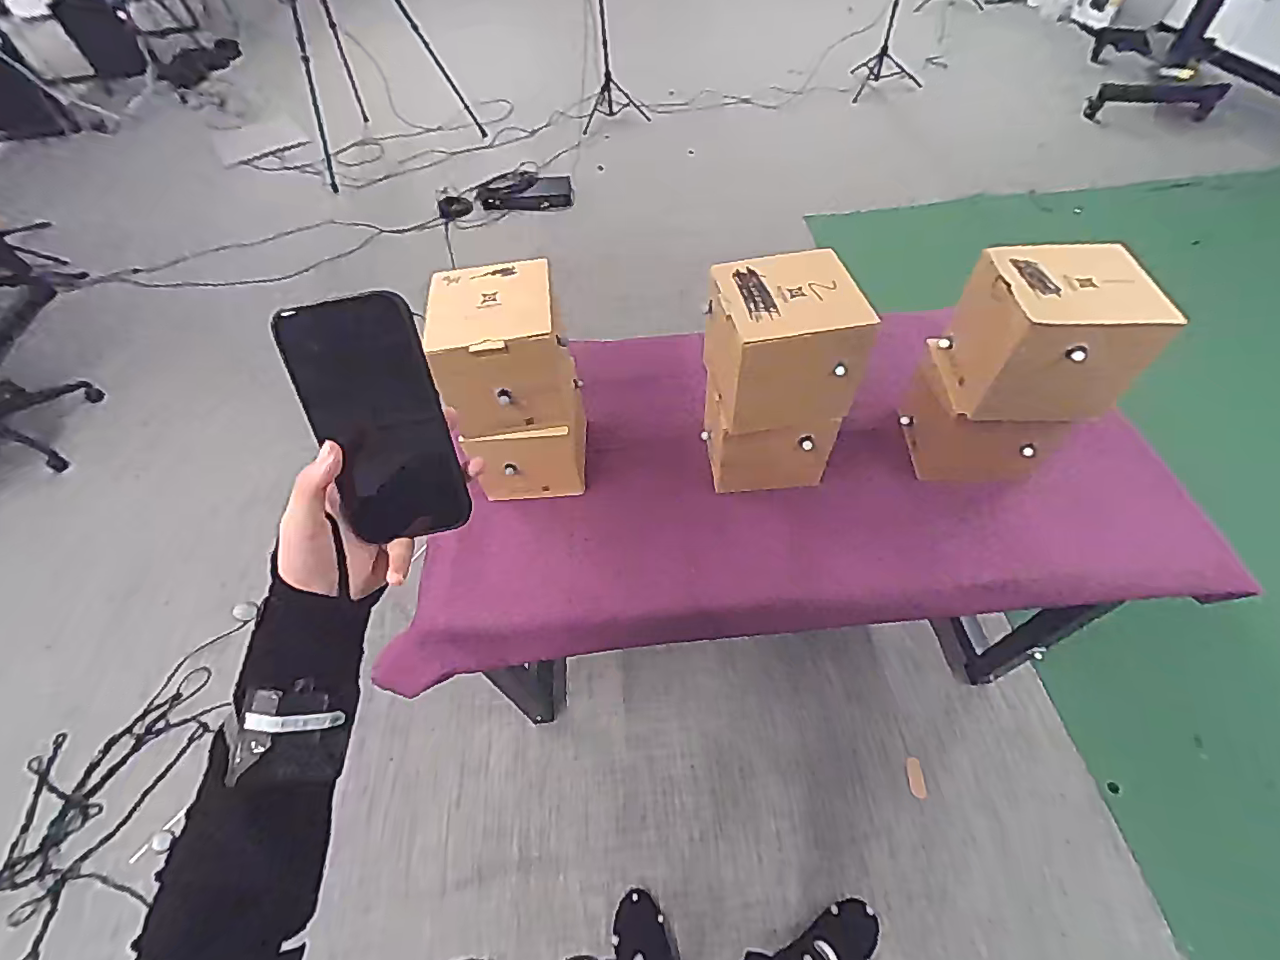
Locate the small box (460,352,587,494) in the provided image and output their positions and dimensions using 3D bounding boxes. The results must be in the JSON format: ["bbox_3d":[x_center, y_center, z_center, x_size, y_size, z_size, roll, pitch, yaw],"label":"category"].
[{"bbox_3d":[-0.183,-0.088,0.908,0.168,0.176,0.179,-5,54,2],"label":"small box"}]

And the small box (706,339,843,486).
[{"bbox_3d":[0.207,-0.106,0.885,0.179,0.176,0.168,-5,54,1],"label":"small box"}]

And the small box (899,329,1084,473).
[{"bbox_3d":[0.547,-0.124,0.869,0.179,0.176,0.168,0,54,5],"label":"small box"}]

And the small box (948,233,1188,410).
[{"bbox_3d":[0.545,-0.208,0.728,0.179,0.176,0.168,0,54,4],"label":"small box"}]

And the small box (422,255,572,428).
[{"bbox_3d":[-0.195,-0.191,0.780,0.168,0.176,0.179,-8,54,-2],"label":"small box"}]
